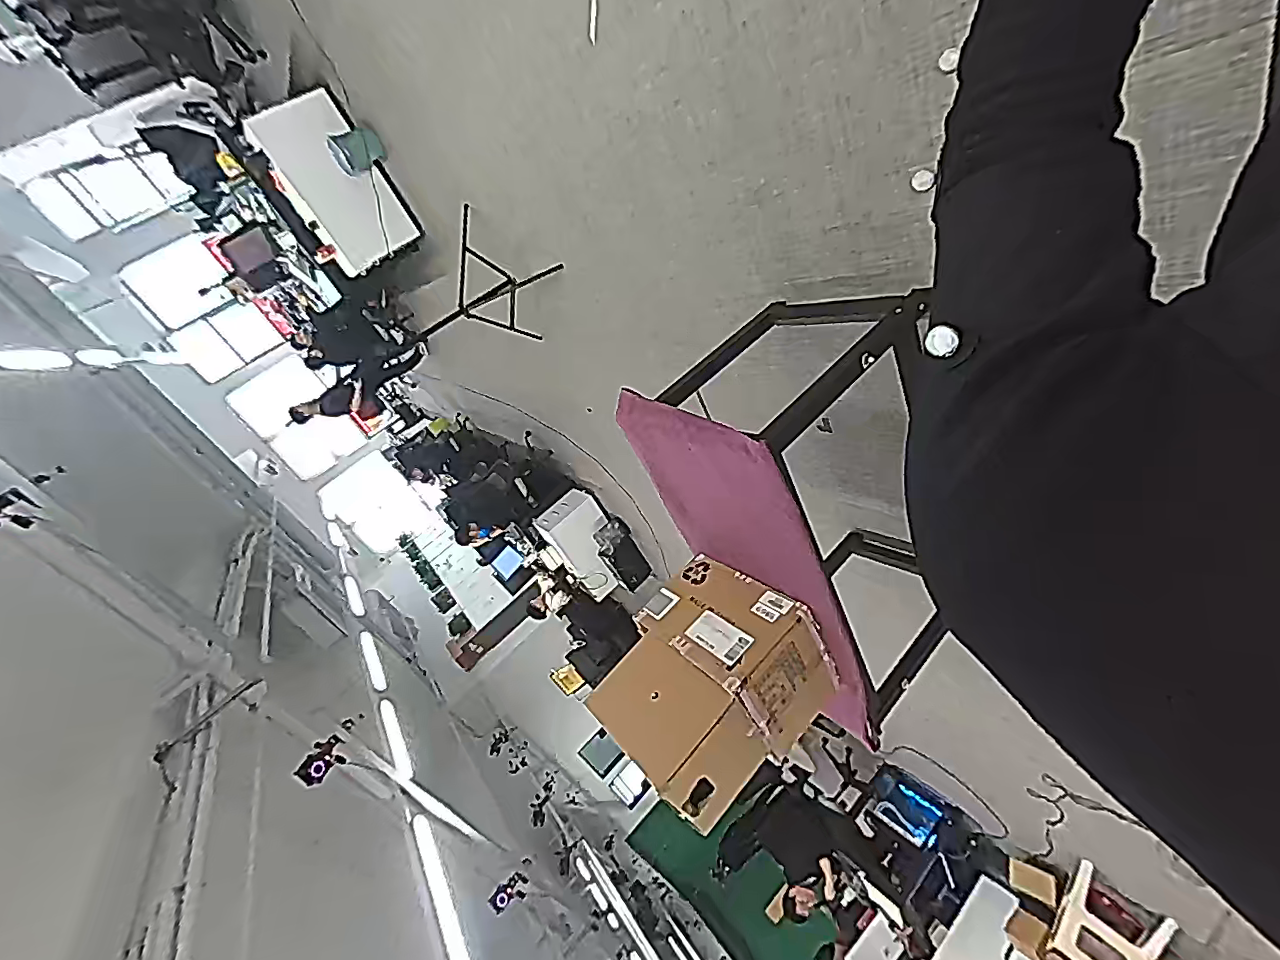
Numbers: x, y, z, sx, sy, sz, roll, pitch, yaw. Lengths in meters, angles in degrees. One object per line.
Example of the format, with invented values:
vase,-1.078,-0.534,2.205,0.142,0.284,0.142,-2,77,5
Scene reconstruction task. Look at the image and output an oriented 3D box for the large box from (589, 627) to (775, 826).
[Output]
large box,0.122,0.714,1.625,0.408,0.320,0.320,21,151,53
